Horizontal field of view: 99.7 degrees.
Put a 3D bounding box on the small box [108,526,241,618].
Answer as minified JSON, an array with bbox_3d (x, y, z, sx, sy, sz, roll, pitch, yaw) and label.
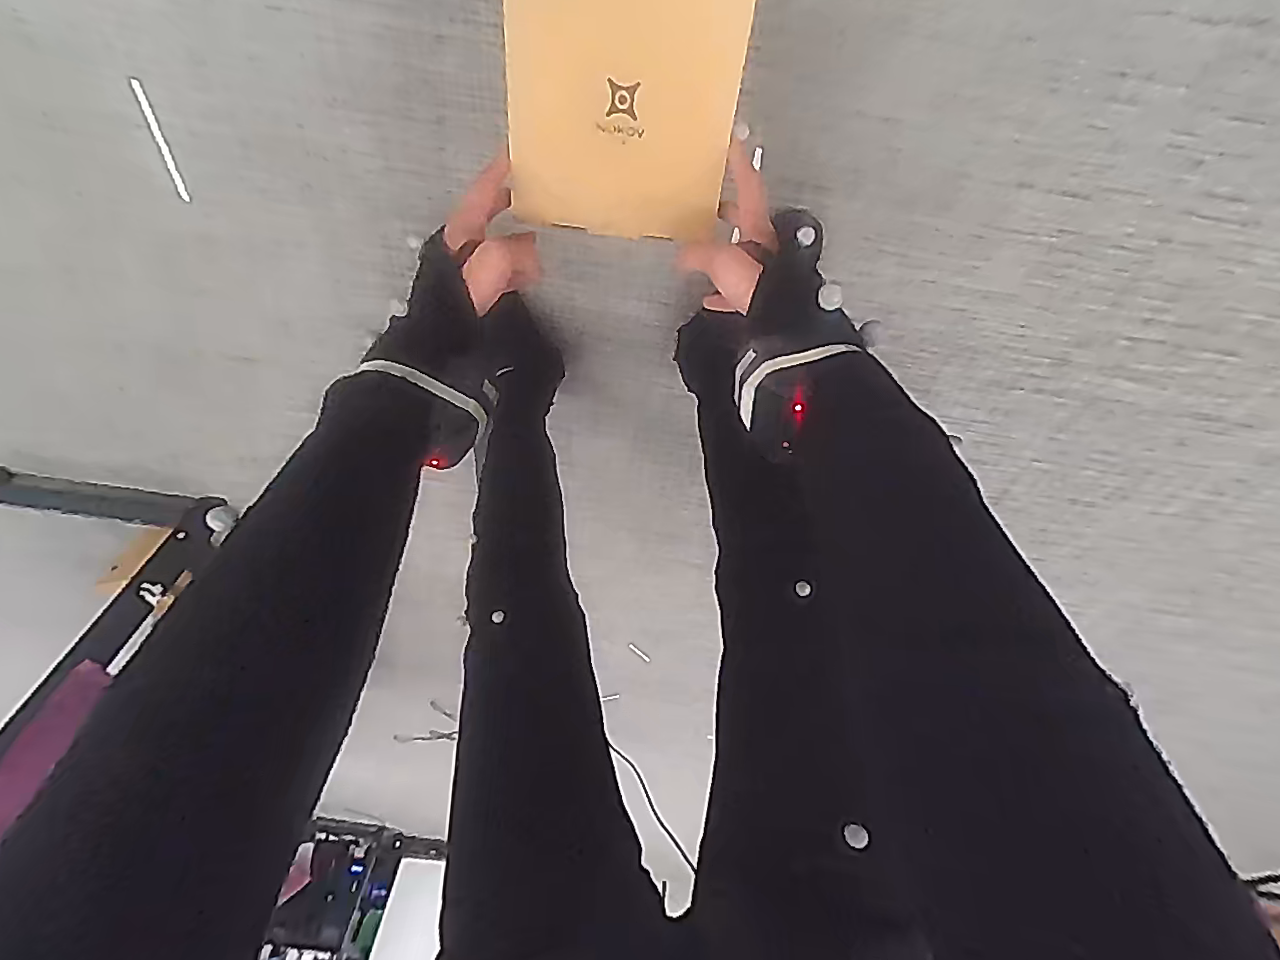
[{"bbox_3d":[-1.220,0.243,1.434,0.179,0.176,0.168,-12,134,19],"label":"small box"}]

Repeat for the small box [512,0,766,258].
[{"bbox_3d":[-0.007,-0.310,0.451,0.168,0.176,0.179,6,132,-2],"label":"small box"}]
